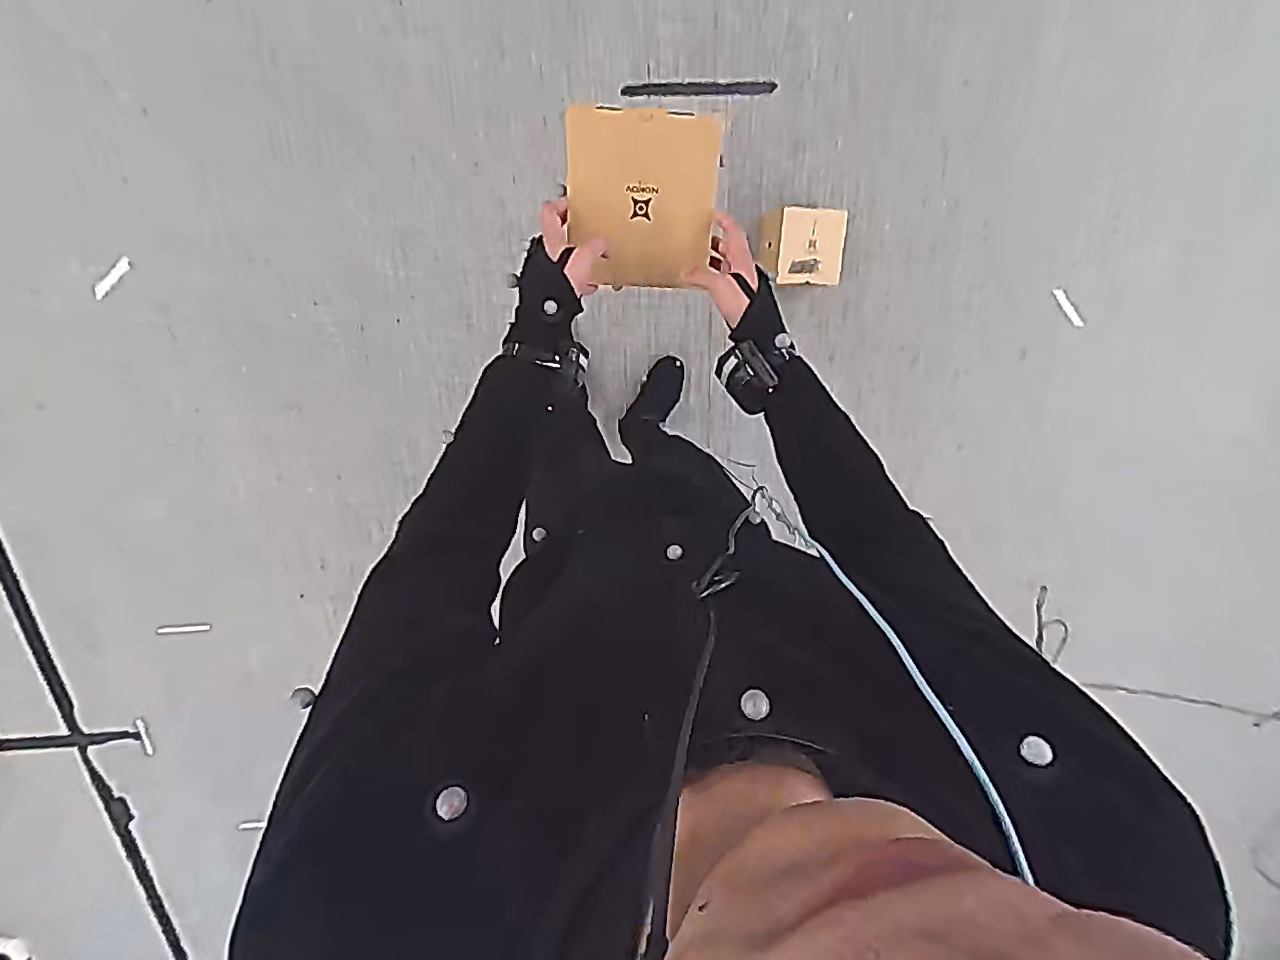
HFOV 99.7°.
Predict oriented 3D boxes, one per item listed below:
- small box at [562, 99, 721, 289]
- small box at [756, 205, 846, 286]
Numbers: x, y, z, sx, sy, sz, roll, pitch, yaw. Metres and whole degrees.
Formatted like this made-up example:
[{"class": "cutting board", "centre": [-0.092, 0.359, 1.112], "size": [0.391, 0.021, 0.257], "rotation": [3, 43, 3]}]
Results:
[{"class": "small box", "centre": [-0.006, -0.338, 0.657], "size": [0.168, 0.176, 0.179], "rotation": [1, 116, -4]}, {"class": "small box", "centre": [0.408, -0.601, 1.404], "size": [0.168, 0.176, 0.179], "rotation": [0, 107, -7]}]
